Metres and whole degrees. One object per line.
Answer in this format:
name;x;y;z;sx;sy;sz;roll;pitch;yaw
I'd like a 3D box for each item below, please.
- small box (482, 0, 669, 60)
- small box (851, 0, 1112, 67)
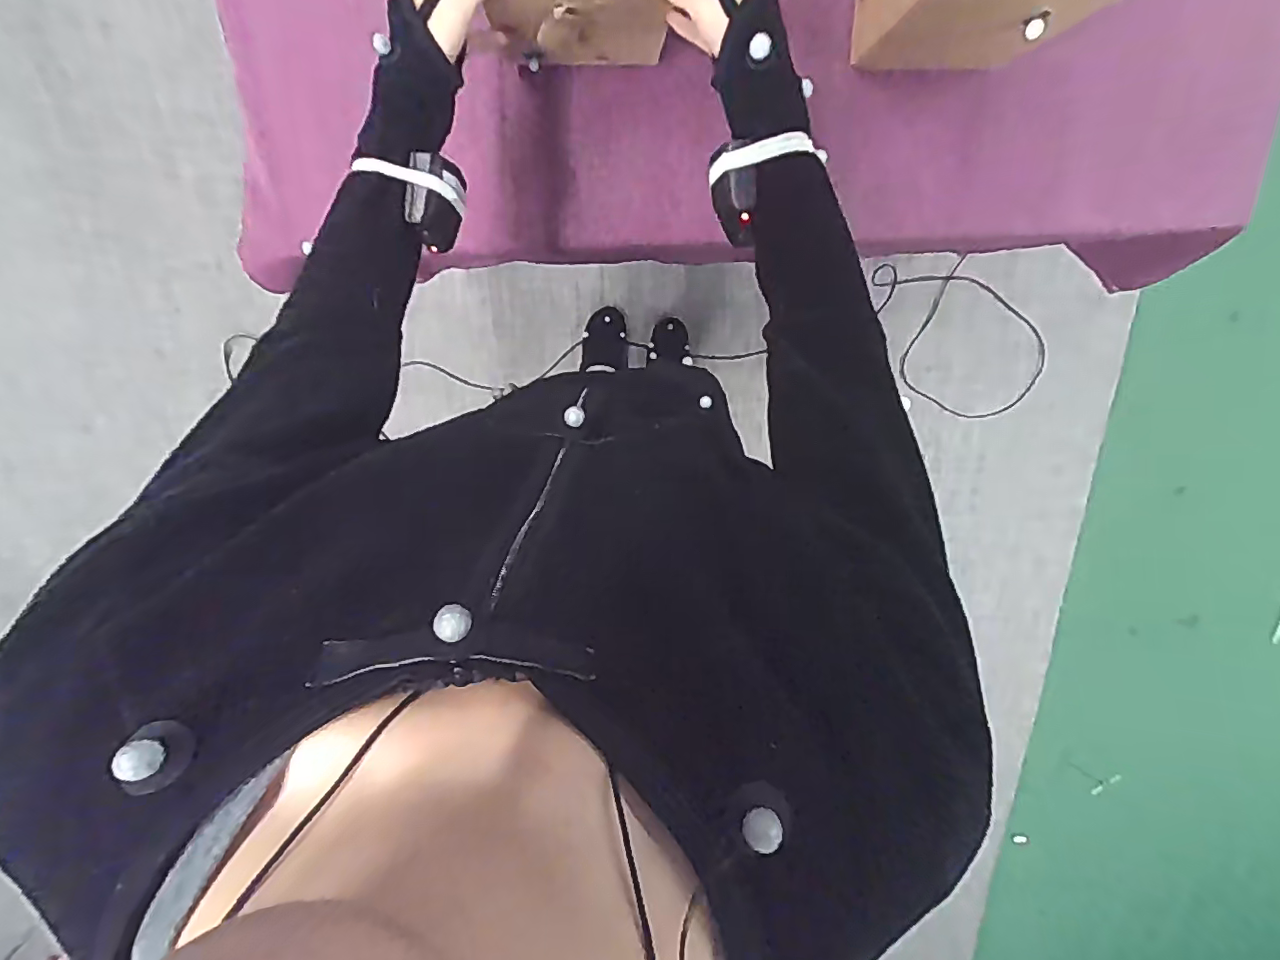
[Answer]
small box;-0.057;-0.506;0.482;0.168;0.176;0.179;-3;110;-4
small box;0.328;-0.522;0.514;0.179;0.176;0.168;-1;109;-2
